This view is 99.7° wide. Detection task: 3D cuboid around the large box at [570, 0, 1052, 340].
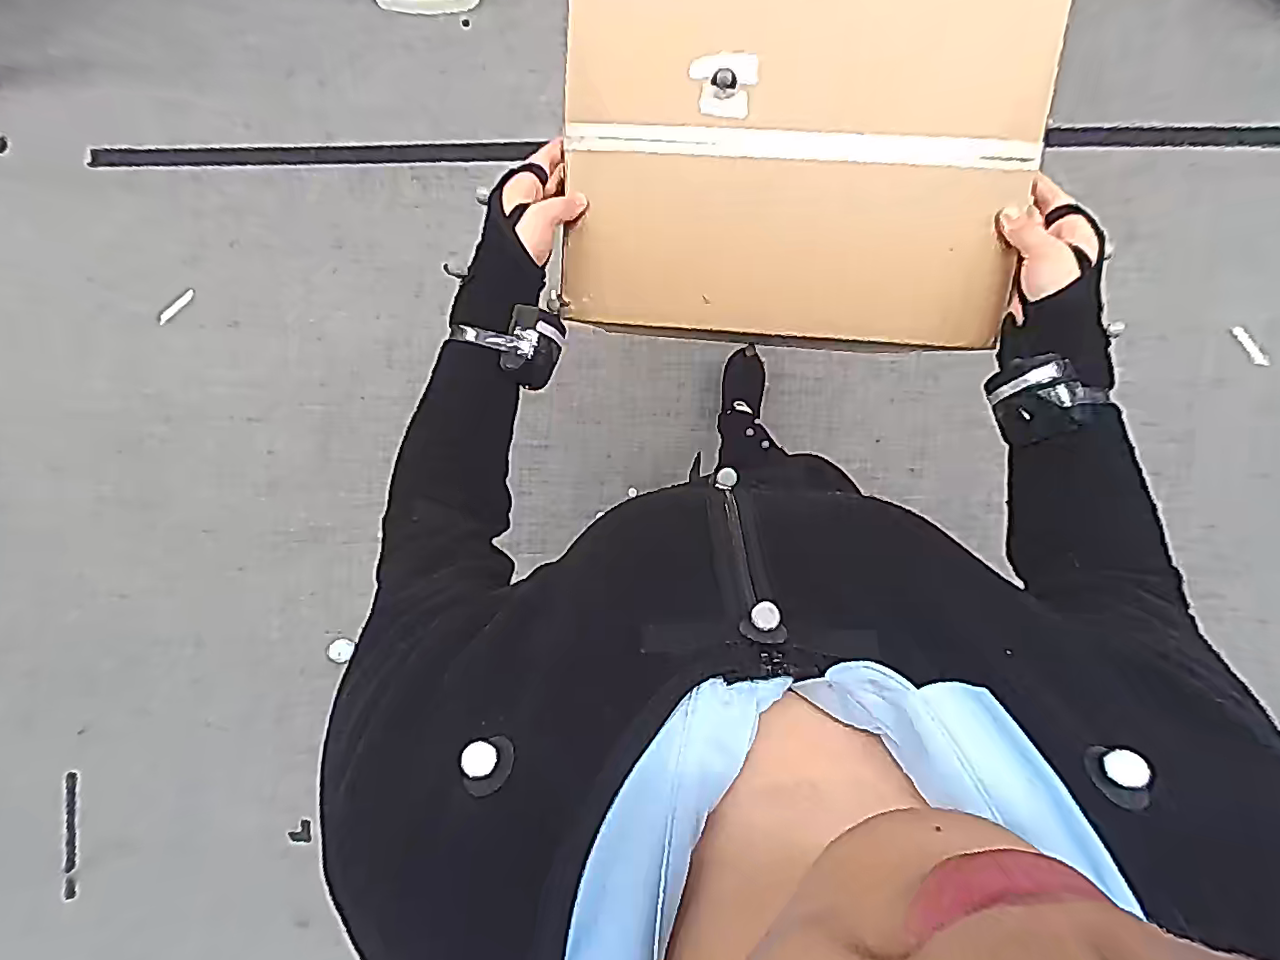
[{"bbox_3d":[0.150,-0.329,0.628,0.408,0.320,0.320,4,102,4],"label":"large box"}]
